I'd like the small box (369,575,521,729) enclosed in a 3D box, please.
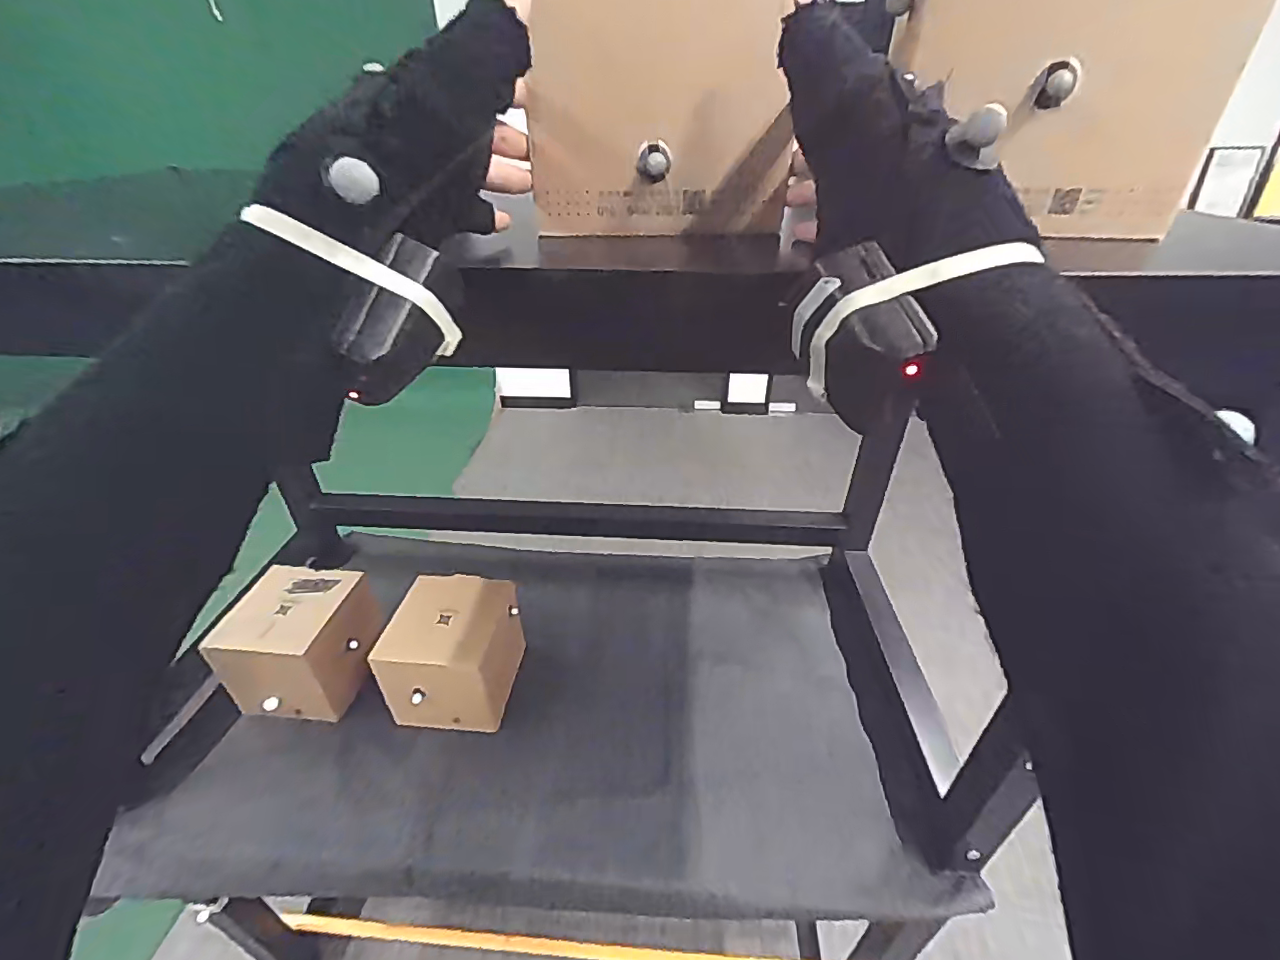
[{"bbox_3d":[-0.301,0.280,0.881,0.168,0.176,0.179,3,33,4],"label":"small box"}]

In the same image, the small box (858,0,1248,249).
[{"bbox_3d":[0.257,-0.265,0.375,0.168,0.176,0.179,9,35,13],"label":"small box"}]

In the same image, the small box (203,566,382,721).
[{"bbox_3d":[-0.553,0.267,0.896,0.168,0.176,0.179,3,34,4],"label":"small box"}]
